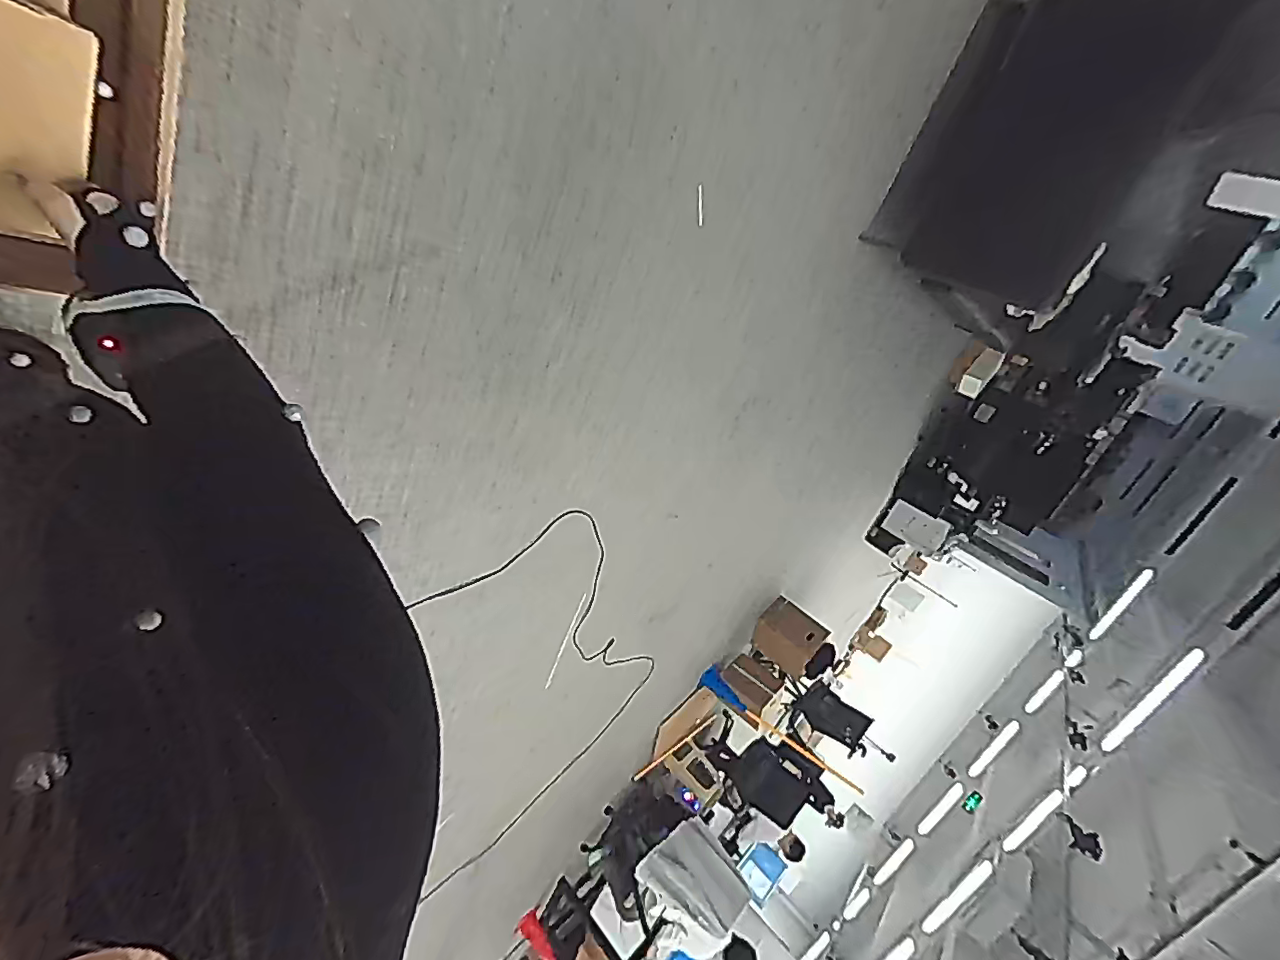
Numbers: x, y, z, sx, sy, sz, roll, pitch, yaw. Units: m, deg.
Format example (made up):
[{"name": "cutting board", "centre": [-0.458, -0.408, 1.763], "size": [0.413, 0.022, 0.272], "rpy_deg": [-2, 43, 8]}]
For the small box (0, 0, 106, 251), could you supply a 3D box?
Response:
[{"name": "small box", "centre": [-0.588, -0.329, 0.459], "size": [0.168, 0.176, 0.179], "rpy_deg": [-2, 122, -53]}]
